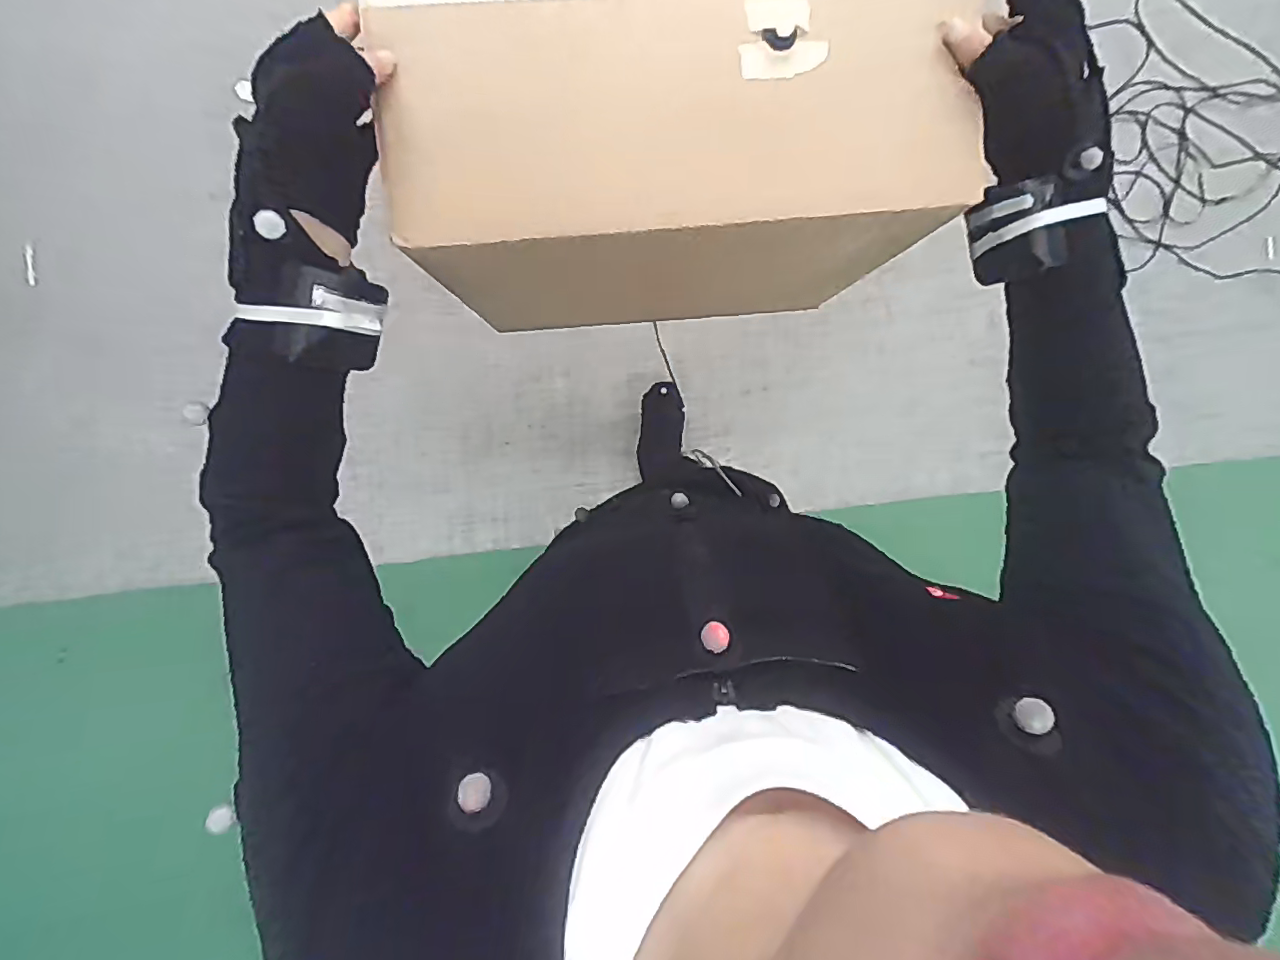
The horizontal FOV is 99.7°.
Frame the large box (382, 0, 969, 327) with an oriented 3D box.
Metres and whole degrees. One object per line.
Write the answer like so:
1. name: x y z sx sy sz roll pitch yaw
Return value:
1. large box: 0.016 -0.349 0.516 0.408 0.320 0.320 -6 96 -2
